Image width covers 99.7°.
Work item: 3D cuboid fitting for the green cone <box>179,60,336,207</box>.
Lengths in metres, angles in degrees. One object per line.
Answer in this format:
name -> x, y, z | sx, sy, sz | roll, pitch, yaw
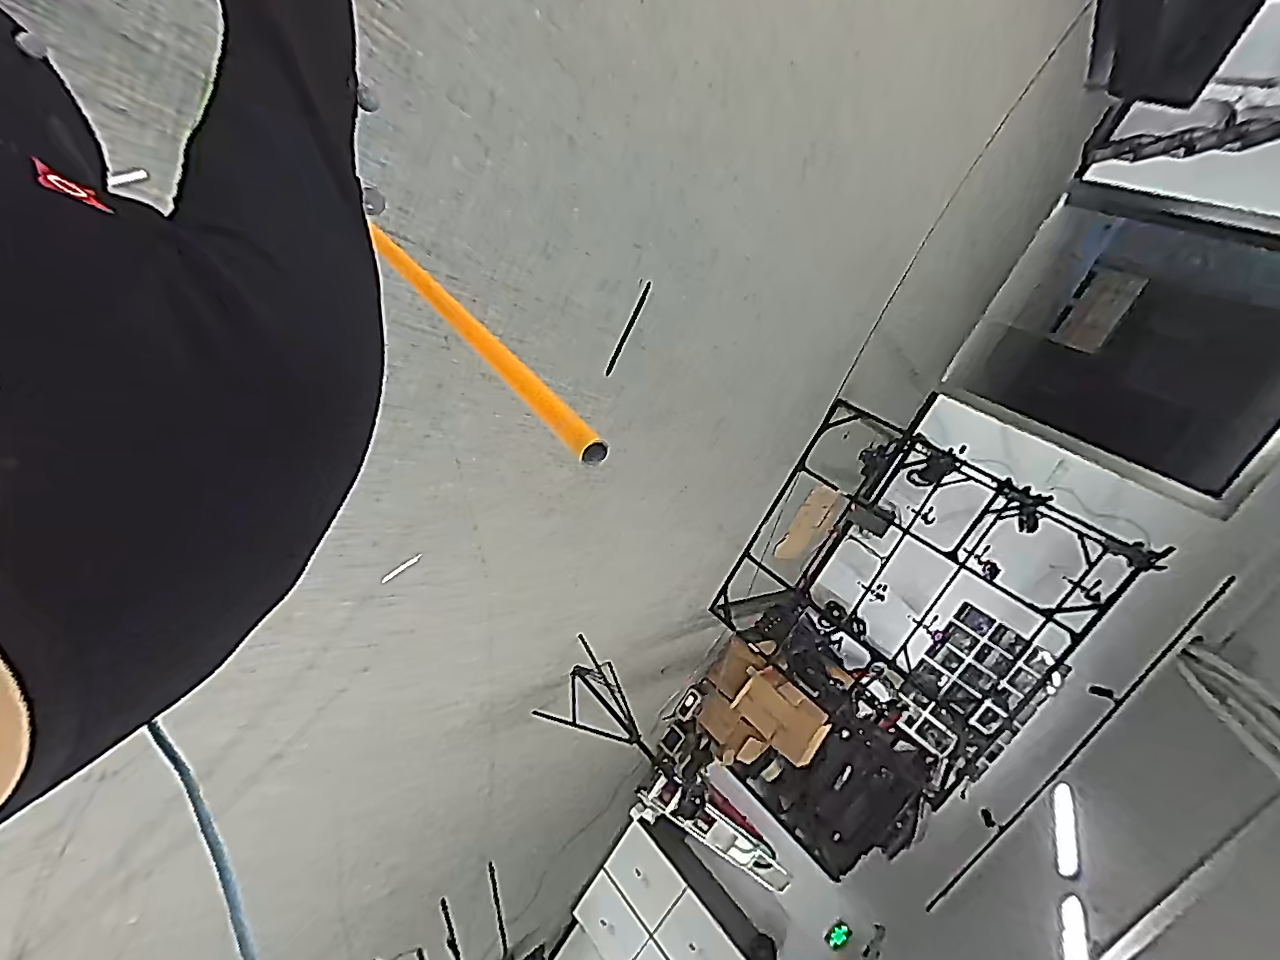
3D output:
green cone -> -0.665, -0.598, 1.004 | 0.202, 0.368, 0.200 | 12, 111, -57
